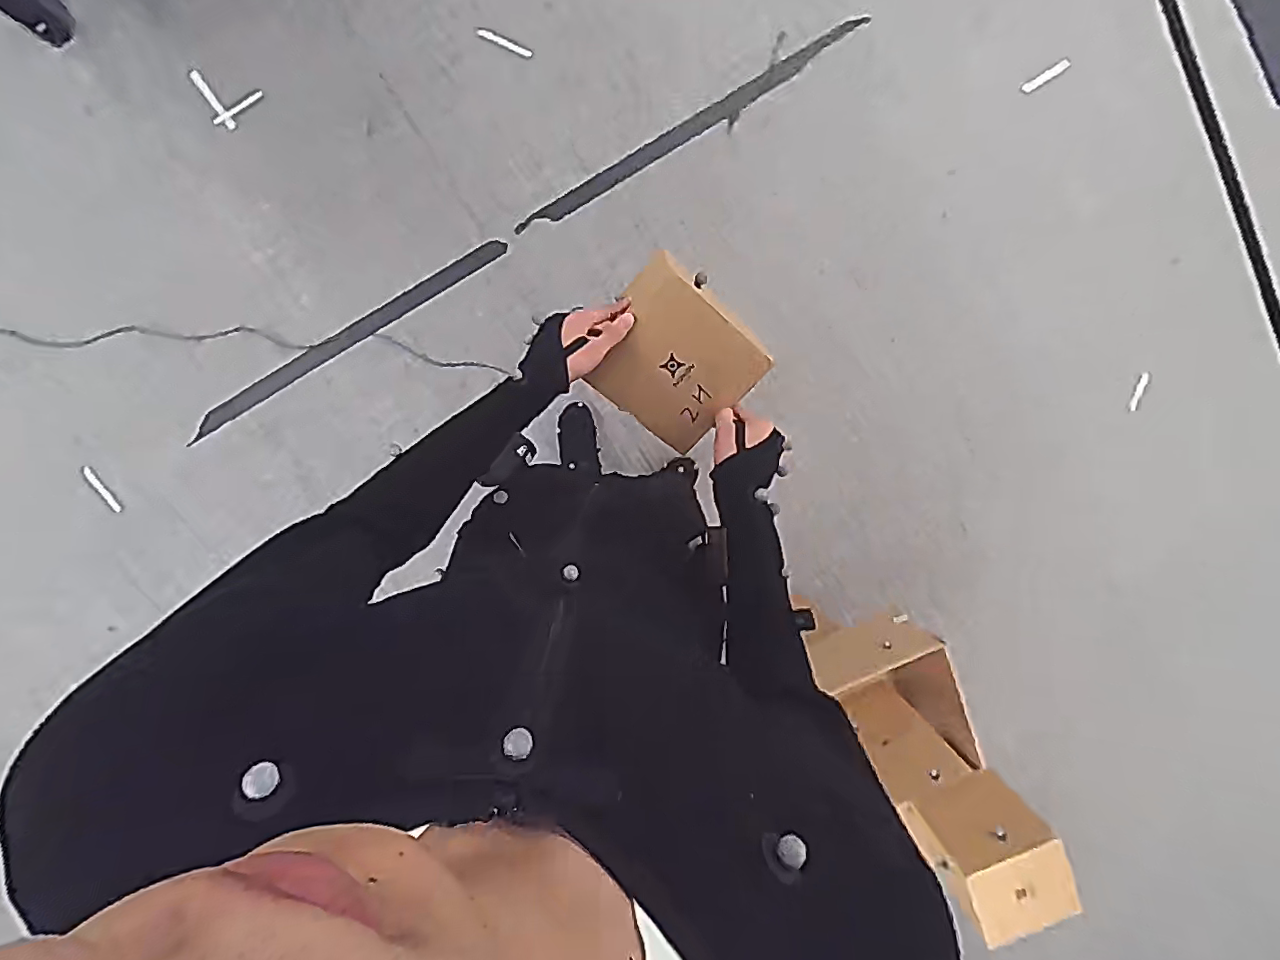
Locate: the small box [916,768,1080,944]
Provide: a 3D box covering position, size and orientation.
[{"bbox_3d":[0.634,0.670,0.982,0.179,0.176,0.168,-23,102,0],"label":"small box"}]

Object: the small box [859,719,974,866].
[{"bbox_3d":[0.597,0.650,1.141,0.168,0.176,0.179,-26,102,0],"label":"small box"}]

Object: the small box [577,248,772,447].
[{"bbox_3d":[0.038,-0.181,0.709,0.179,0.176,0.168,35,115,-20],"label":"small box"}]
